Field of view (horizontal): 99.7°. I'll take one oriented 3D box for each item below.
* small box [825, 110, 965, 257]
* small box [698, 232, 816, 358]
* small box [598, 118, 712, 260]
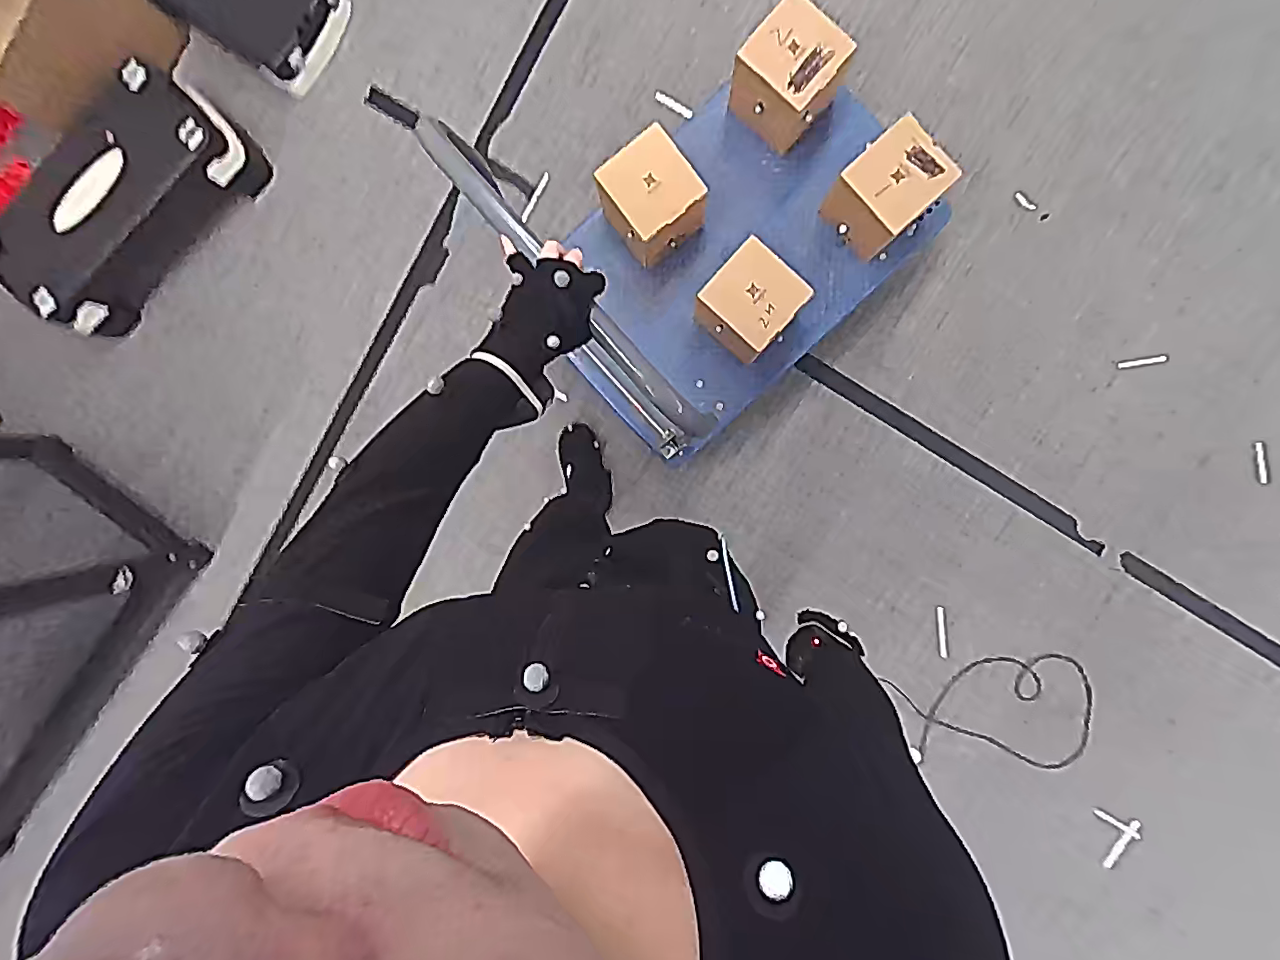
[{"bbox_3d":[0.522,-0.609,1.136,0.179,0.176,0.168,-41,90,6],"label":"small box"},{"bbox_3d":[0.239,-0.386,1.164,0.179,0.176,0.168,44,95,0],"label":"small box"},{"bbox_3d":[0.031,-0.611,1.162,0.168,0.176,0.179,-38,92,4],"label":"small box"}]
